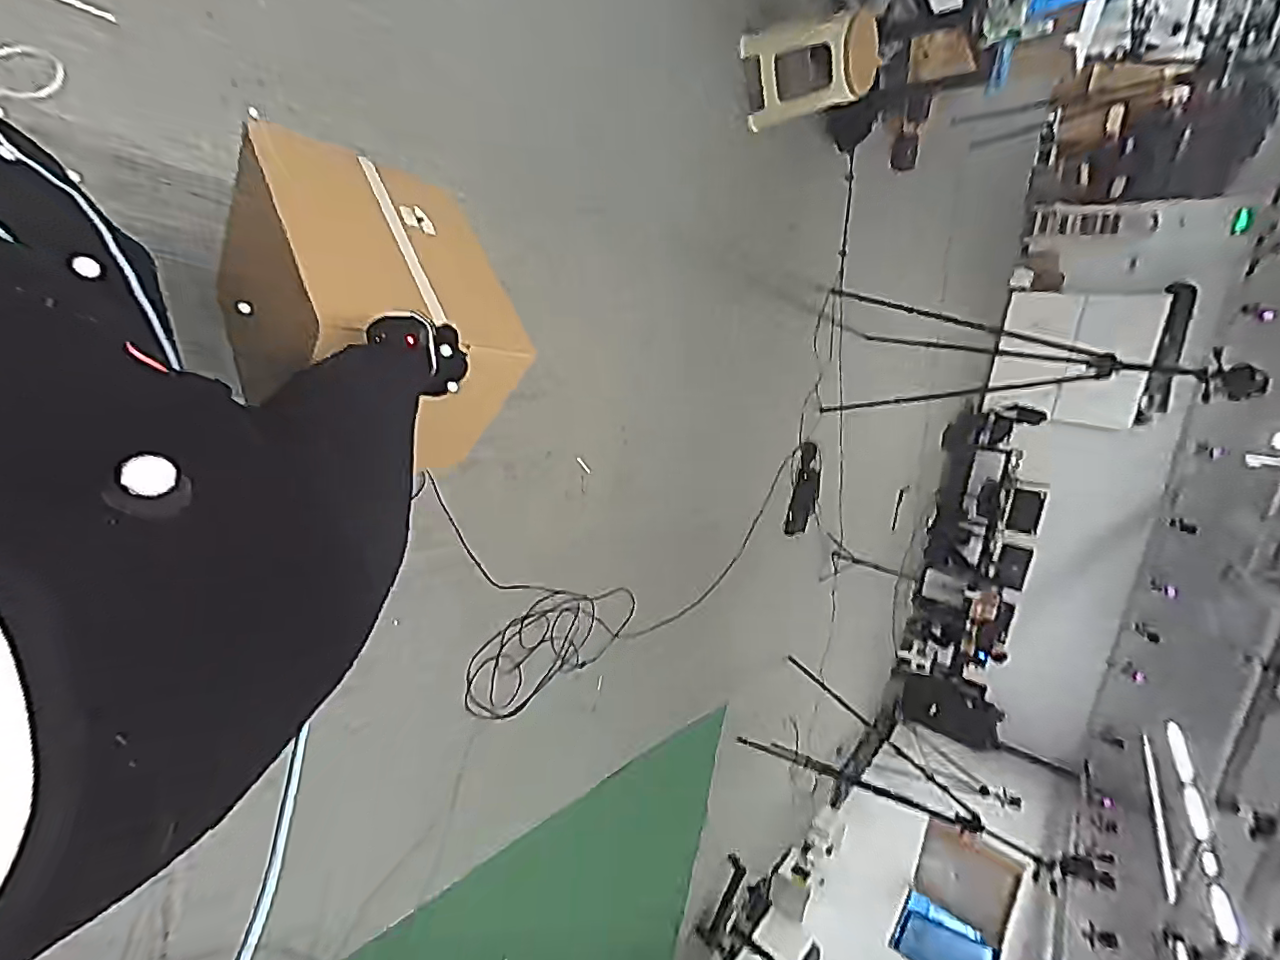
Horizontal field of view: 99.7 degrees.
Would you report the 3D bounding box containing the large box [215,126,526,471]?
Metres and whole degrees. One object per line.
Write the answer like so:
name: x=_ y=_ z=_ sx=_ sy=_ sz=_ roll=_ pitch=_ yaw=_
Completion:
large box: x=-0.459 y=-0.268 z=0.898 sx=0.320 sy=0.408 sz=0.320 roll=-5 pitch=148 yaw=-50
